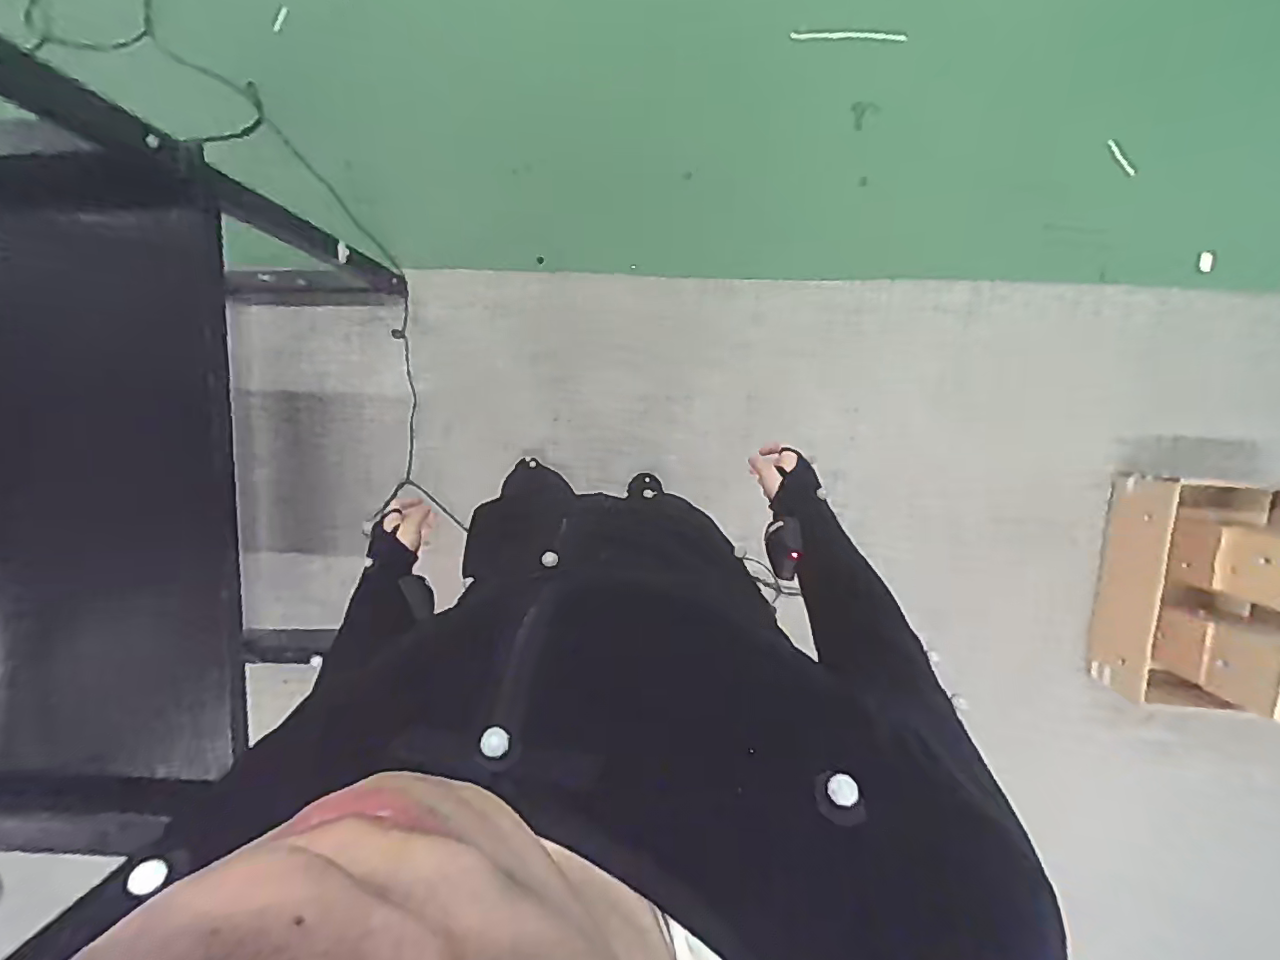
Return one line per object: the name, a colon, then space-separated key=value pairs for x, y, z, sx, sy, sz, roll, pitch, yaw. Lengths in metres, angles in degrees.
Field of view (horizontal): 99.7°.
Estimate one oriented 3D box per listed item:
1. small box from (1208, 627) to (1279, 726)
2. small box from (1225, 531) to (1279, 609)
small box: x=1.527 y=0.472 z=1.288 sx=0.168 sy=0.176 sz=0.179 roll=6 pitch=95 yaw=3
small box: x=1.551 y=0.218 z=1.269 sx=0.179 sy=0.176 sz=0.168 roll=1 pitch=97 yaw=2
